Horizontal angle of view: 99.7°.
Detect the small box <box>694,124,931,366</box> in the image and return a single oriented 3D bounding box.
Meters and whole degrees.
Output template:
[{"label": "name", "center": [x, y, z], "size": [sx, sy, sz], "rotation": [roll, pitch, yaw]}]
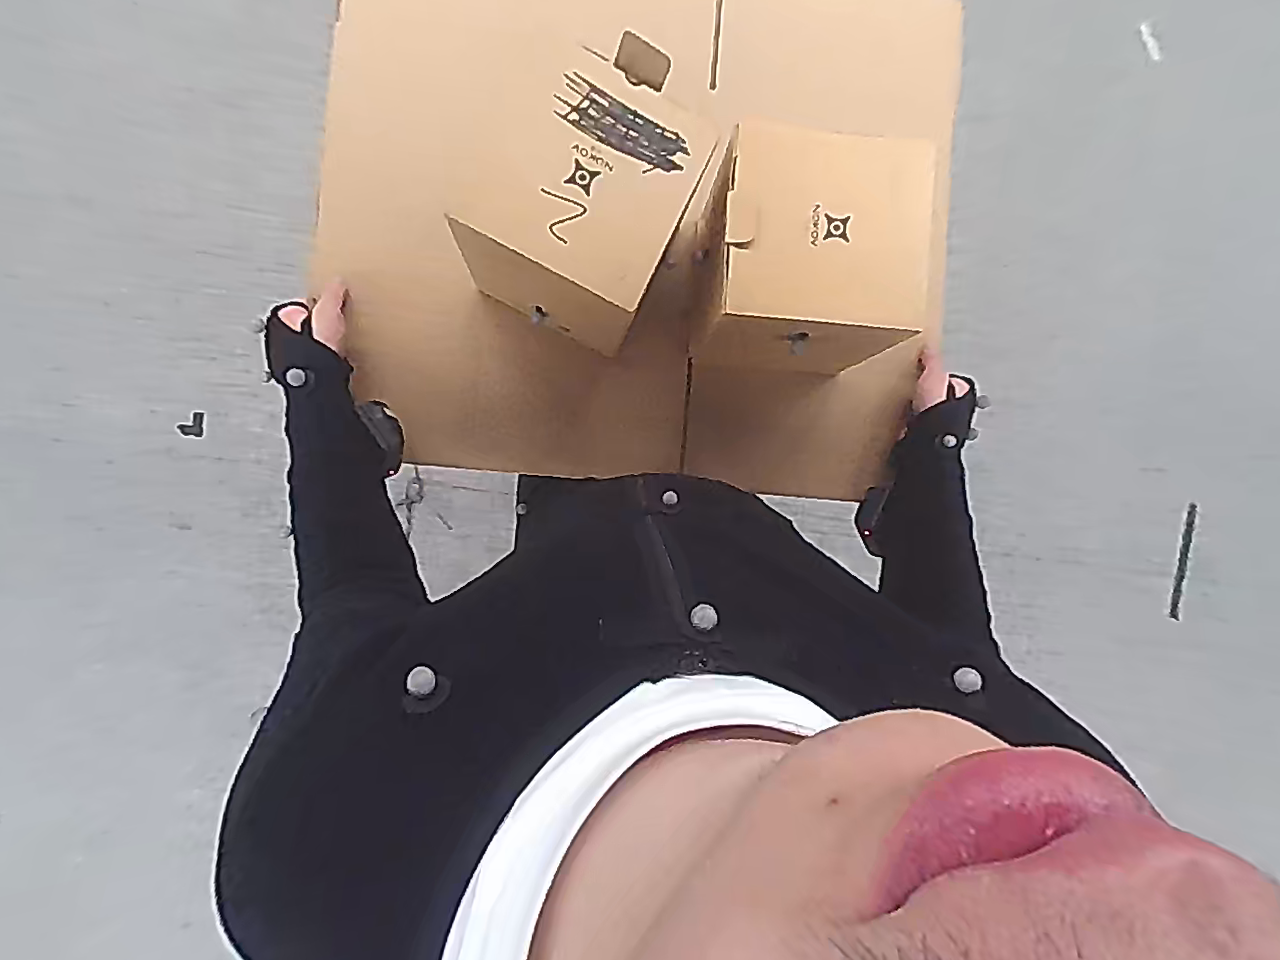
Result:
[{"label": "small box", "center": [0.159, -0.218, 0.549], "size": [0.179, 0.176, 0.168], "rotation": [4, 89, -3]}]
